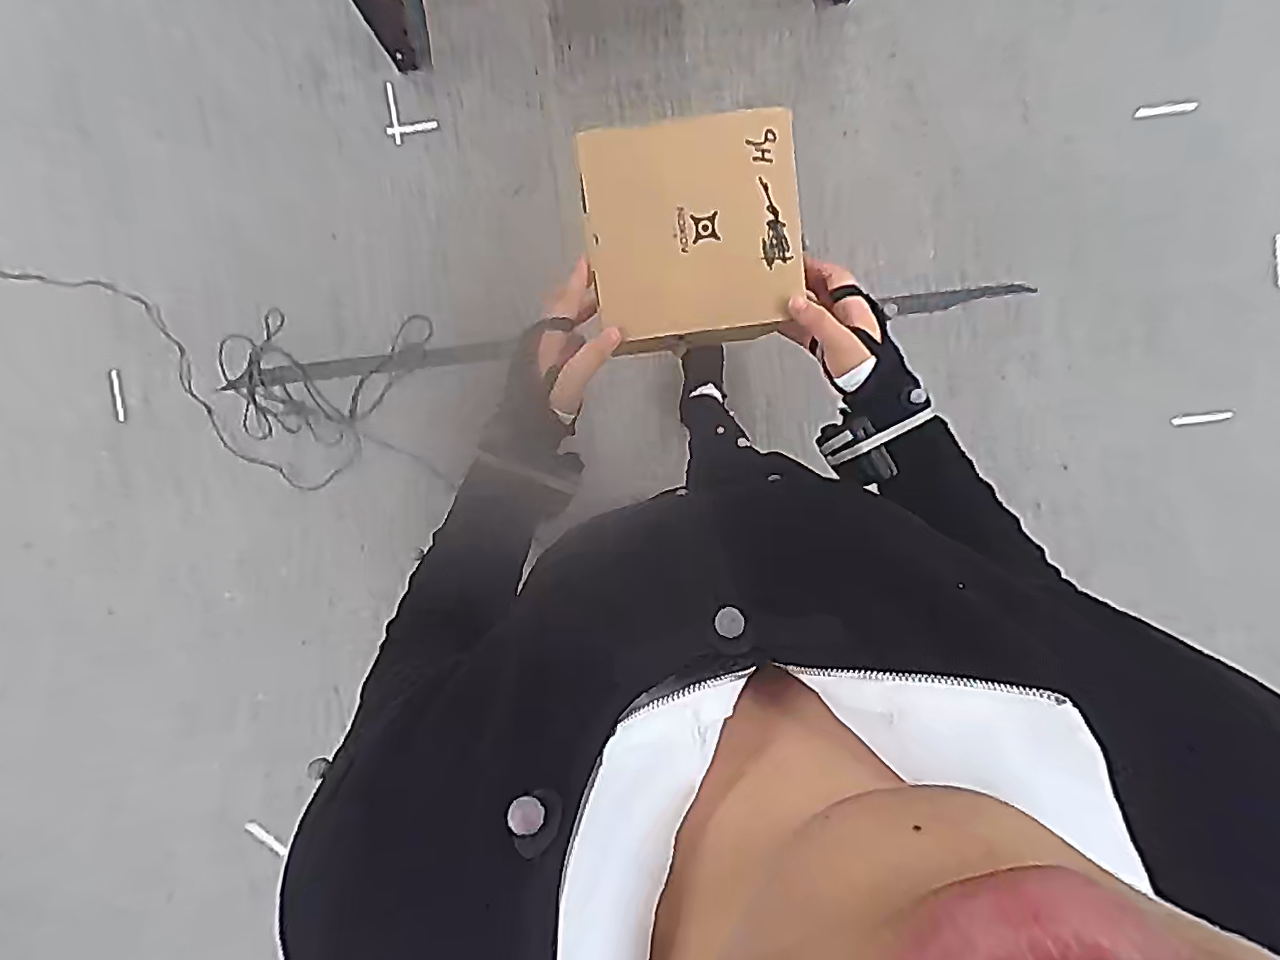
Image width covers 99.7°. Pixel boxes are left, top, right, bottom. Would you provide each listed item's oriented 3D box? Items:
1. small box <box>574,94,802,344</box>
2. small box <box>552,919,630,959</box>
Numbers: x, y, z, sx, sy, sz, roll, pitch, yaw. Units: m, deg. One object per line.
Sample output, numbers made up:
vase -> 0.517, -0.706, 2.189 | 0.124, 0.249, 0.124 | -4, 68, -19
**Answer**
small box -> 0.040, -0.230, 0.523 | 0.179, 0.176, 0.168 | -7, 98, -1
small box -> -0.110, 1.177, 1.296 | 0.168, 0.176, 0.179 | -10, 93, 1
